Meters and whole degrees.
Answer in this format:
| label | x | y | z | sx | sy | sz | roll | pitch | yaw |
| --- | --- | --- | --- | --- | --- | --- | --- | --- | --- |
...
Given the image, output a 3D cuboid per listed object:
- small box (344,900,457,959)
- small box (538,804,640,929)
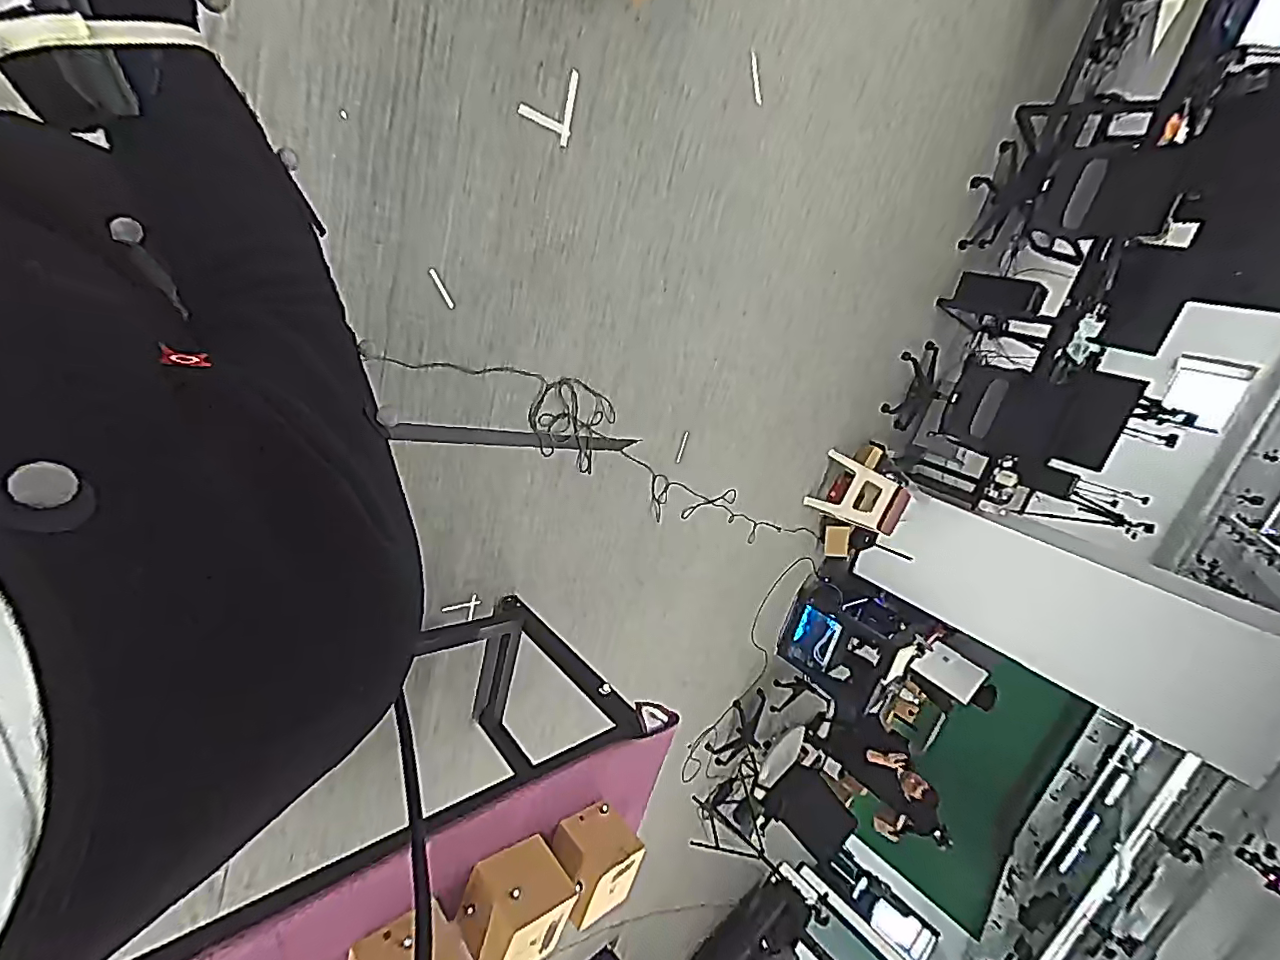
| label | x | y | z | sx | sy | sz | roll | pitch | yaw |
| --- | --- | --- | --- | --- | --- | --- | --- | --- | --- |
| small box | -0.456 | 0.964 | 1.023 | 0.168 | 0.176 | 0.179 | -1 | 113 | -48 |
| small box | -0.134 | 0.965 | 1.376 | 0.168 | 0.176 | 0.179 | 7 | 107 | -49 |
